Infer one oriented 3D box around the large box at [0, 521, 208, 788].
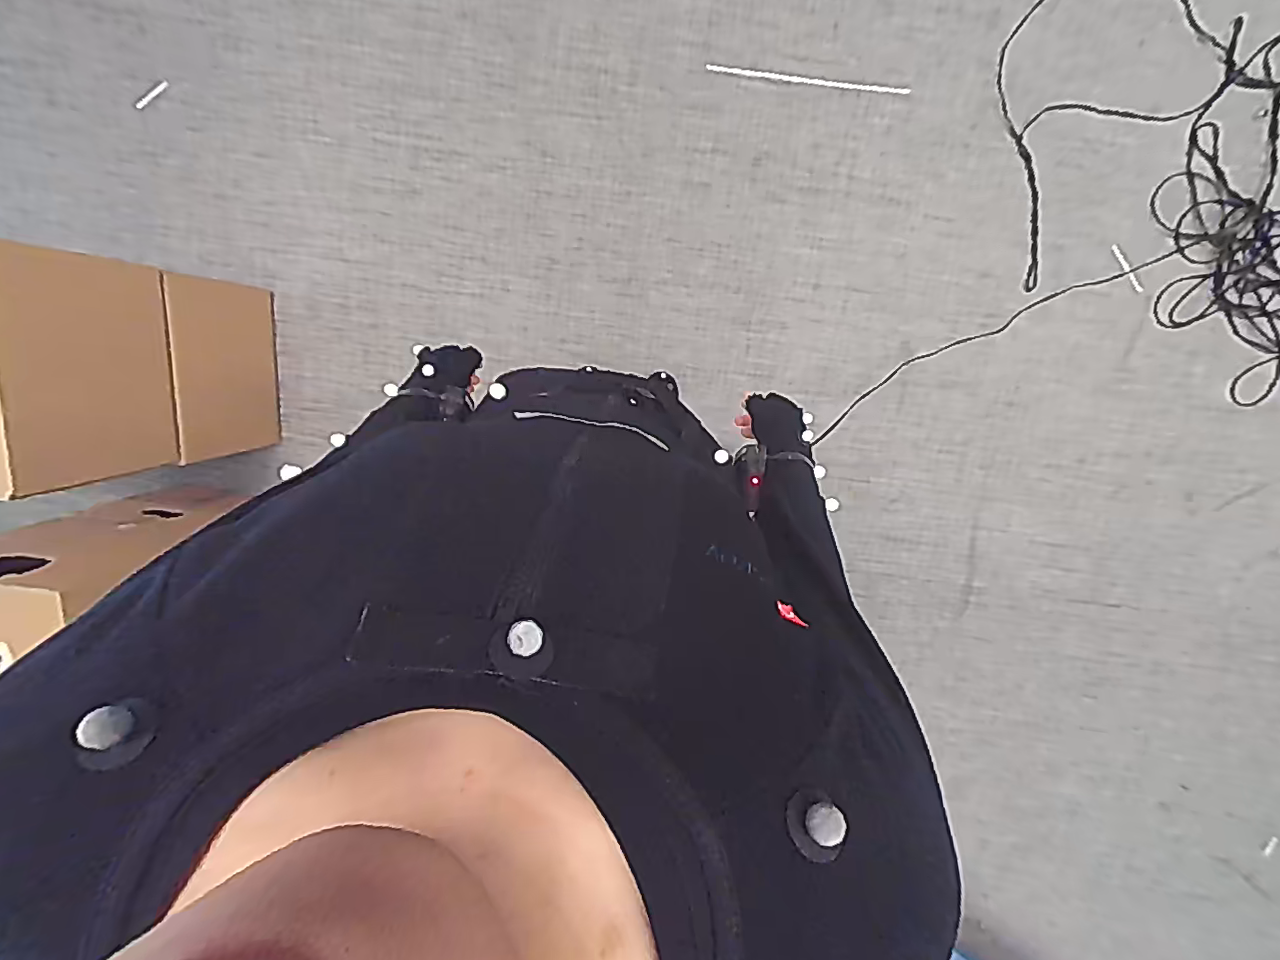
[{"bbox_3d":[-1.155,0.330,1.100,0.320,0.320,0.408,7,101,-2],"label":"large box"}]
